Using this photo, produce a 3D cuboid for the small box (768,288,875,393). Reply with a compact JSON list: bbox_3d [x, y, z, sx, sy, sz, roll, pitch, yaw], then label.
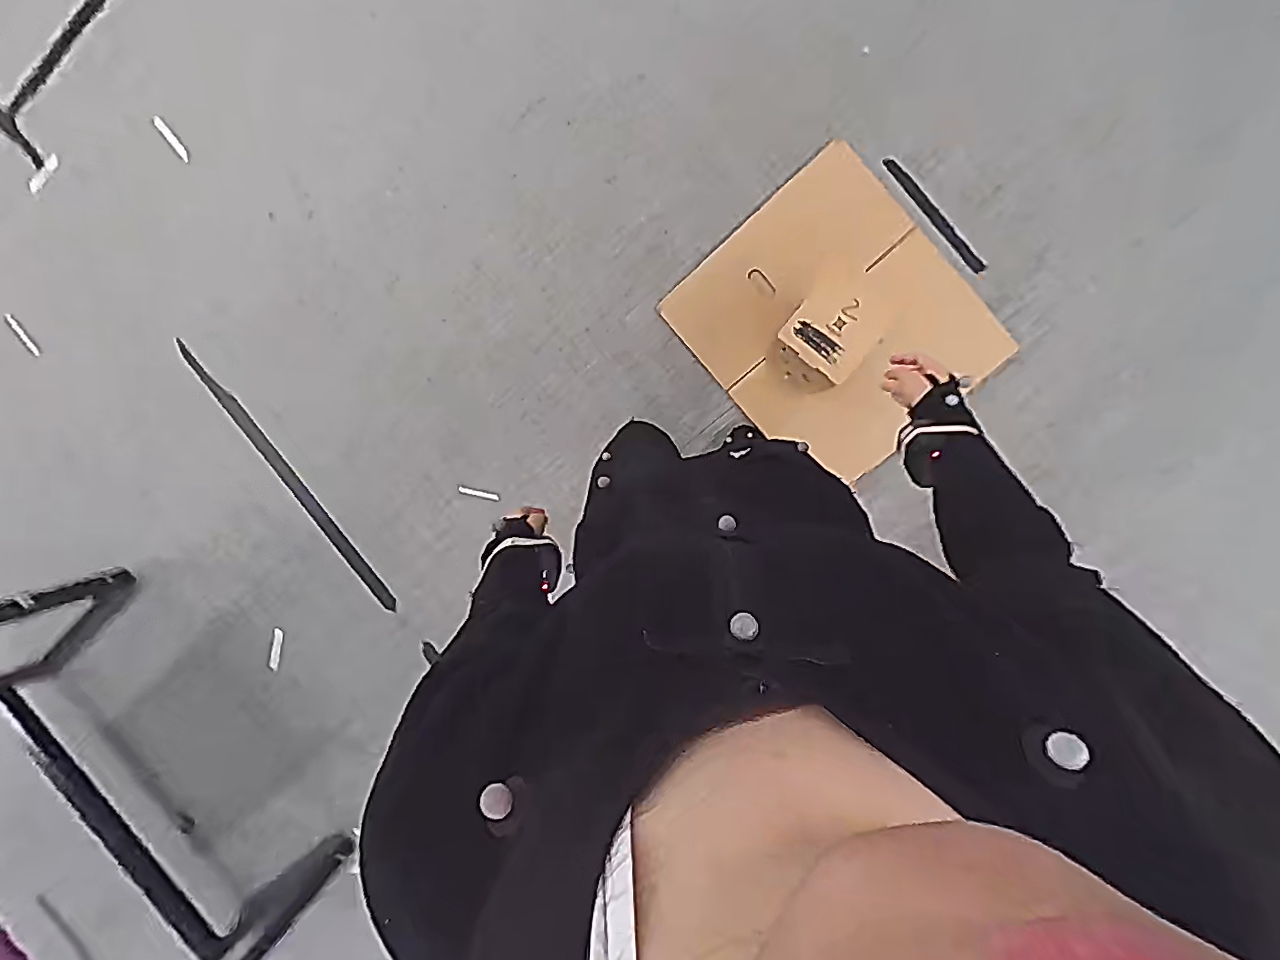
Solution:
[{"bbox_3d":[0.428,-0.329,1.312,0.168,0.176,0.179,42,101,3],"label":"small box"}]
